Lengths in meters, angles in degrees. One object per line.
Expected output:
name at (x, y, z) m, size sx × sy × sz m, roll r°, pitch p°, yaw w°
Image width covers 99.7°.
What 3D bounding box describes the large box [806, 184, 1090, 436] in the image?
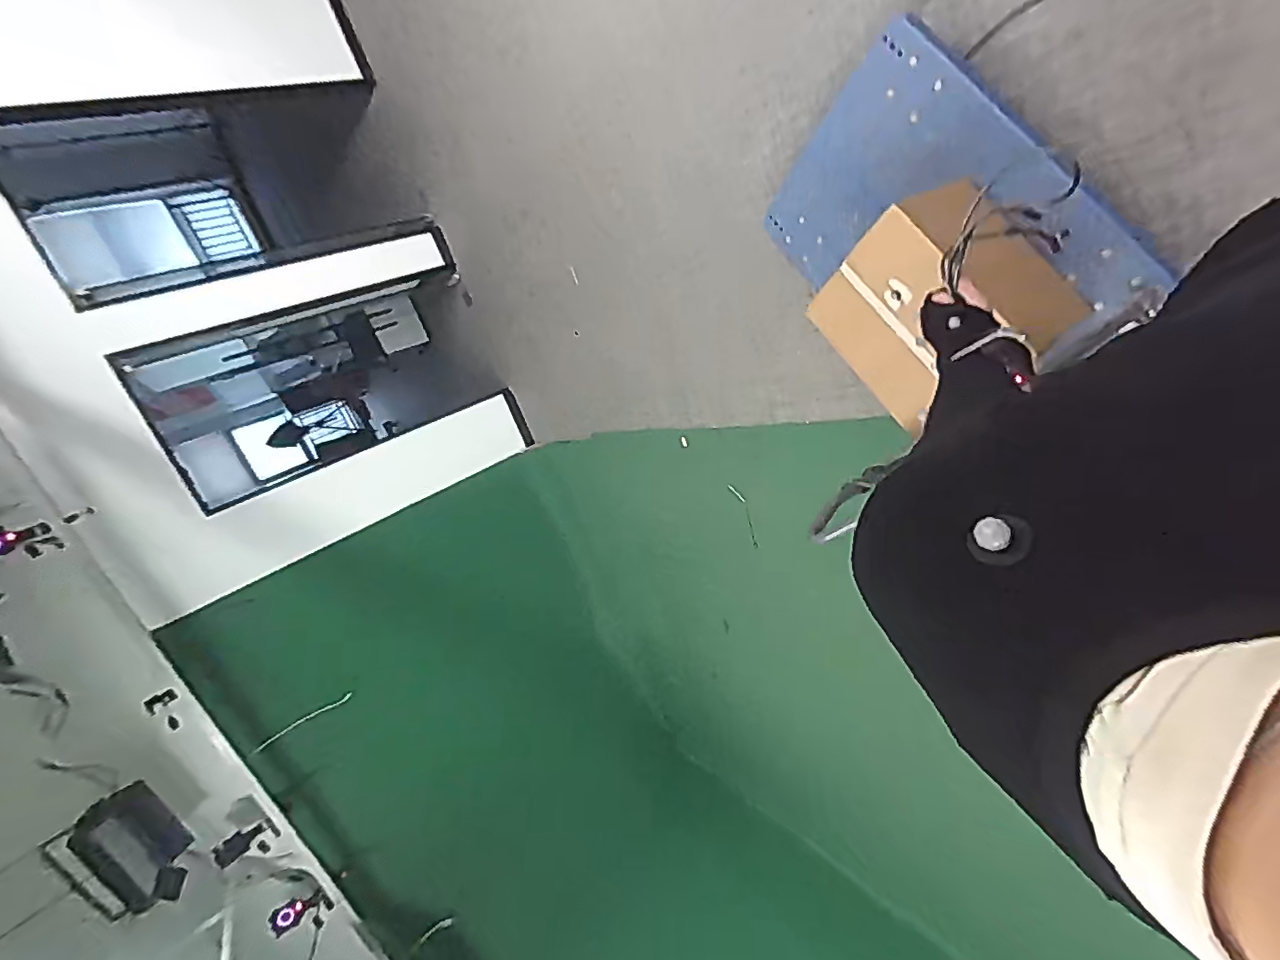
large box at (0.677, -0.380, 1.223) m, size 0.408 × 0.320 × 0.320 m, roll 55°, pitch 149°, yaw 11°
